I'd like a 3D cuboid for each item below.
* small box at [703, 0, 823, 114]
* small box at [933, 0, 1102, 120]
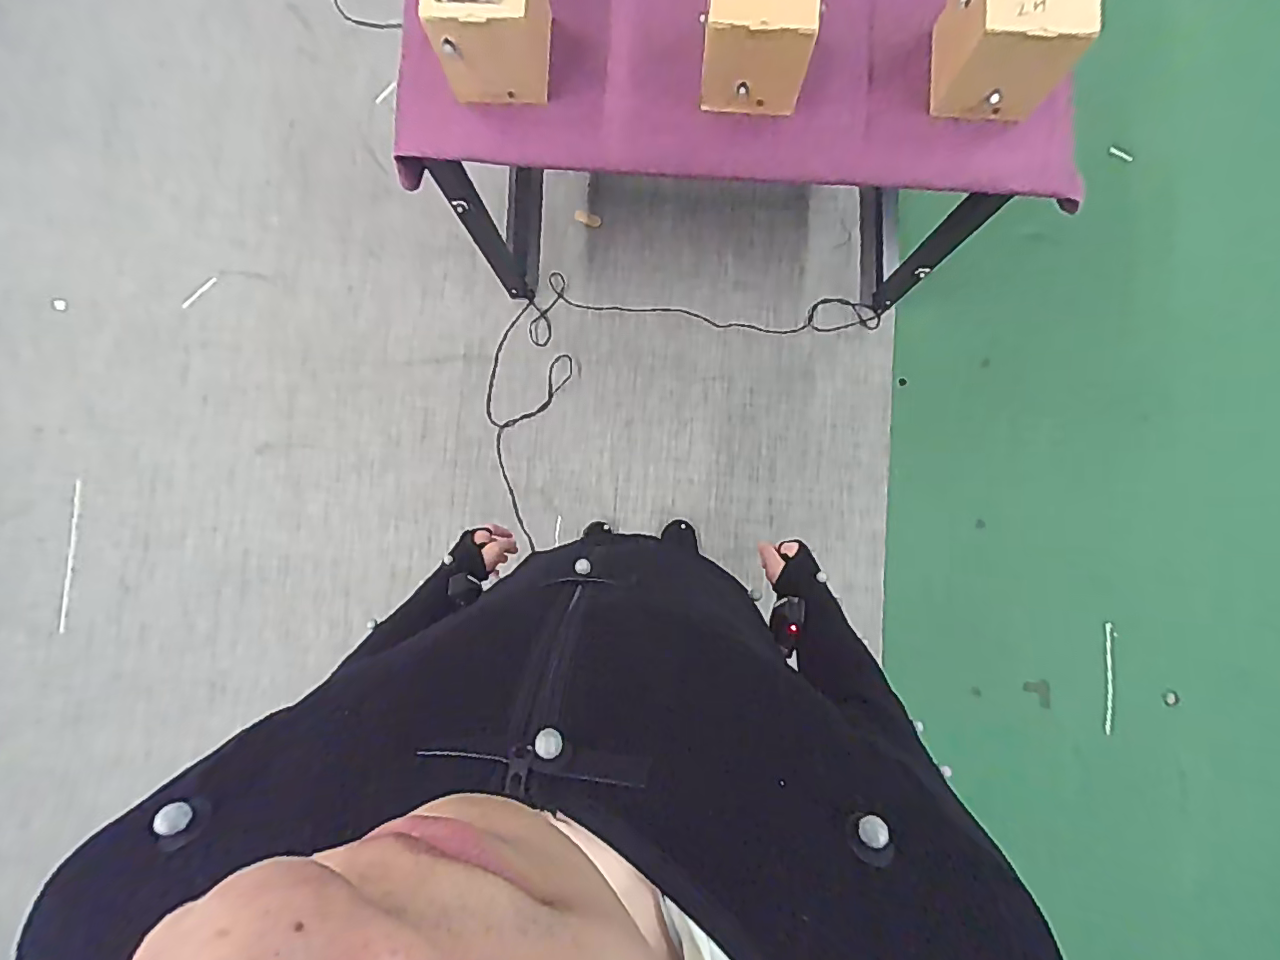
[{"bbox_3d":[0.198,-0.754,0.894,0.168,0.176,0.179,5,86,1],"label":"small box"},{"bbox_3d":[0.601,-0.732,0.879,0.168,0.176,0.179,5,85,3],"label":"small box"}]
